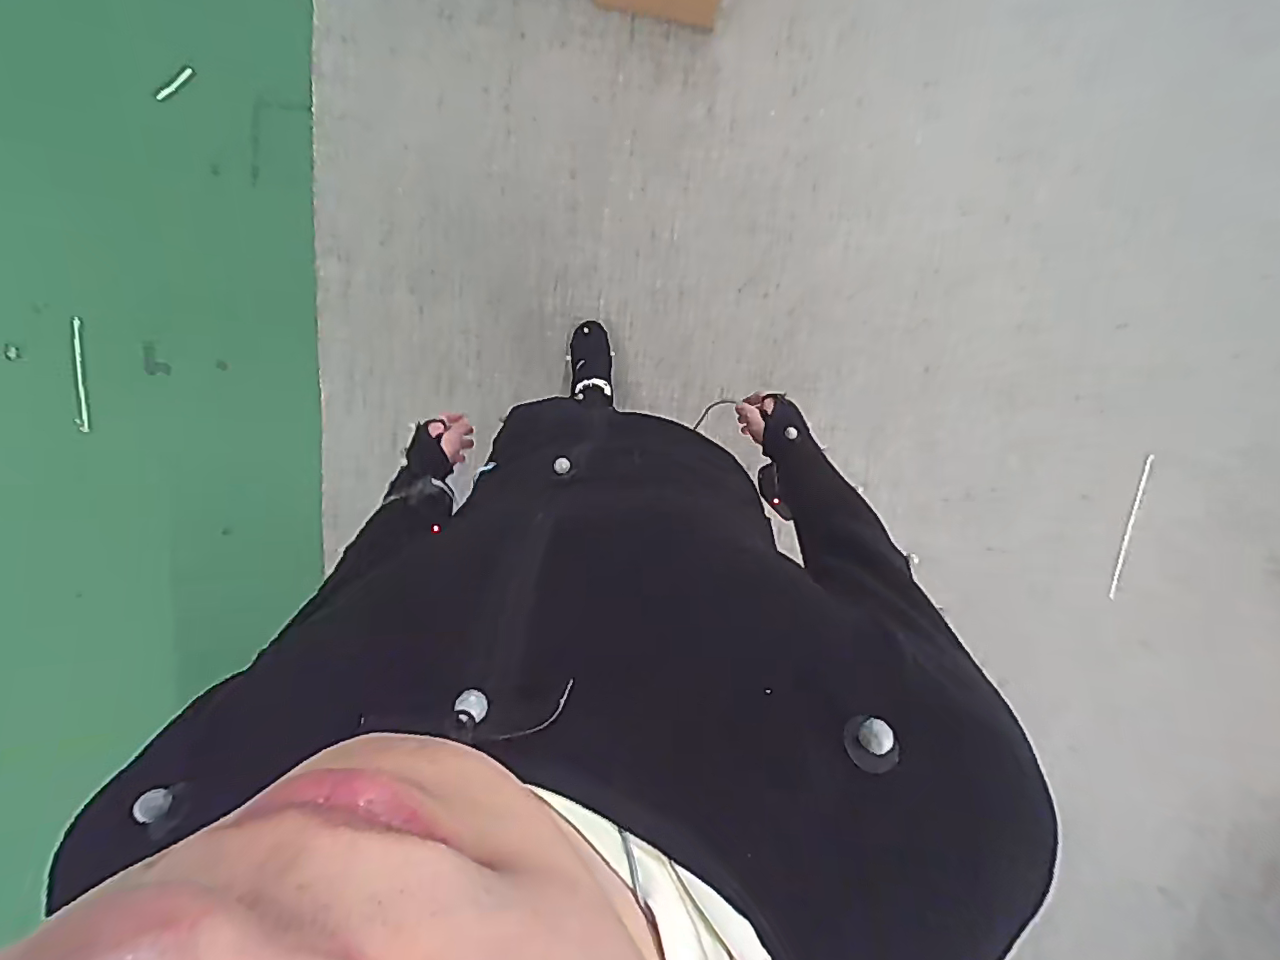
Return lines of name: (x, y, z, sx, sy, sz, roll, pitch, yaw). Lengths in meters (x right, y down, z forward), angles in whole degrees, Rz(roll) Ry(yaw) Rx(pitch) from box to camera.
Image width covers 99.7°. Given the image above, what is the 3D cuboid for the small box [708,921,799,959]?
small box: (0.222, 0.991, 1.027, 0.168, 0.176, 0.179, 2, 102, -3)
